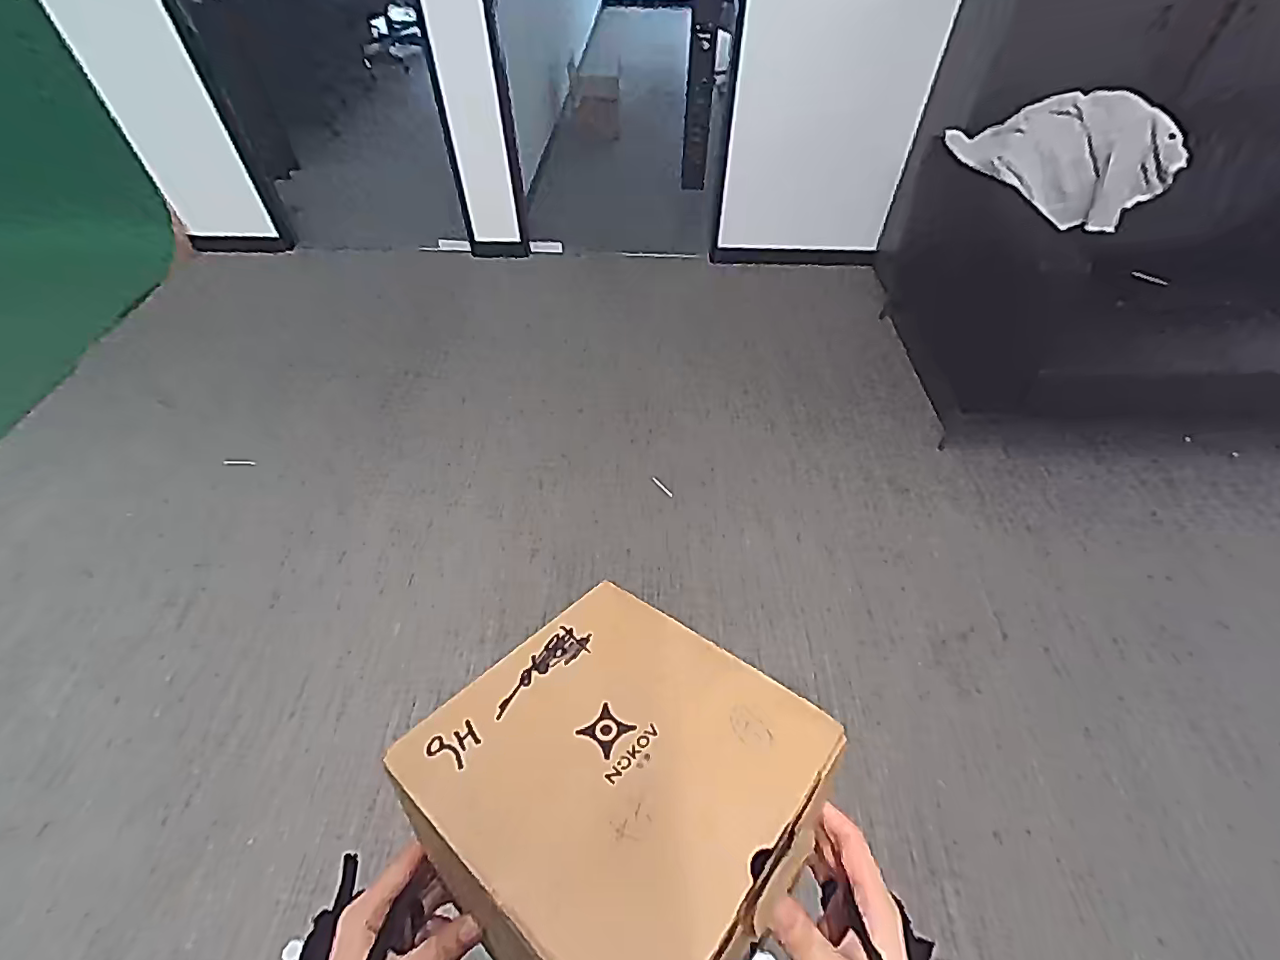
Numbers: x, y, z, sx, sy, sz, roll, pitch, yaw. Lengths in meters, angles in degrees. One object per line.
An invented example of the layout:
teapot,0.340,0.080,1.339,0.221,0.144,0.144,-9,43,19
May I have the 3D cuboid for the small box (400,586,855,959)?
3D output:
small box,-0.007,0.204,0.321,0.179,0.176,0.168,27,41,33
